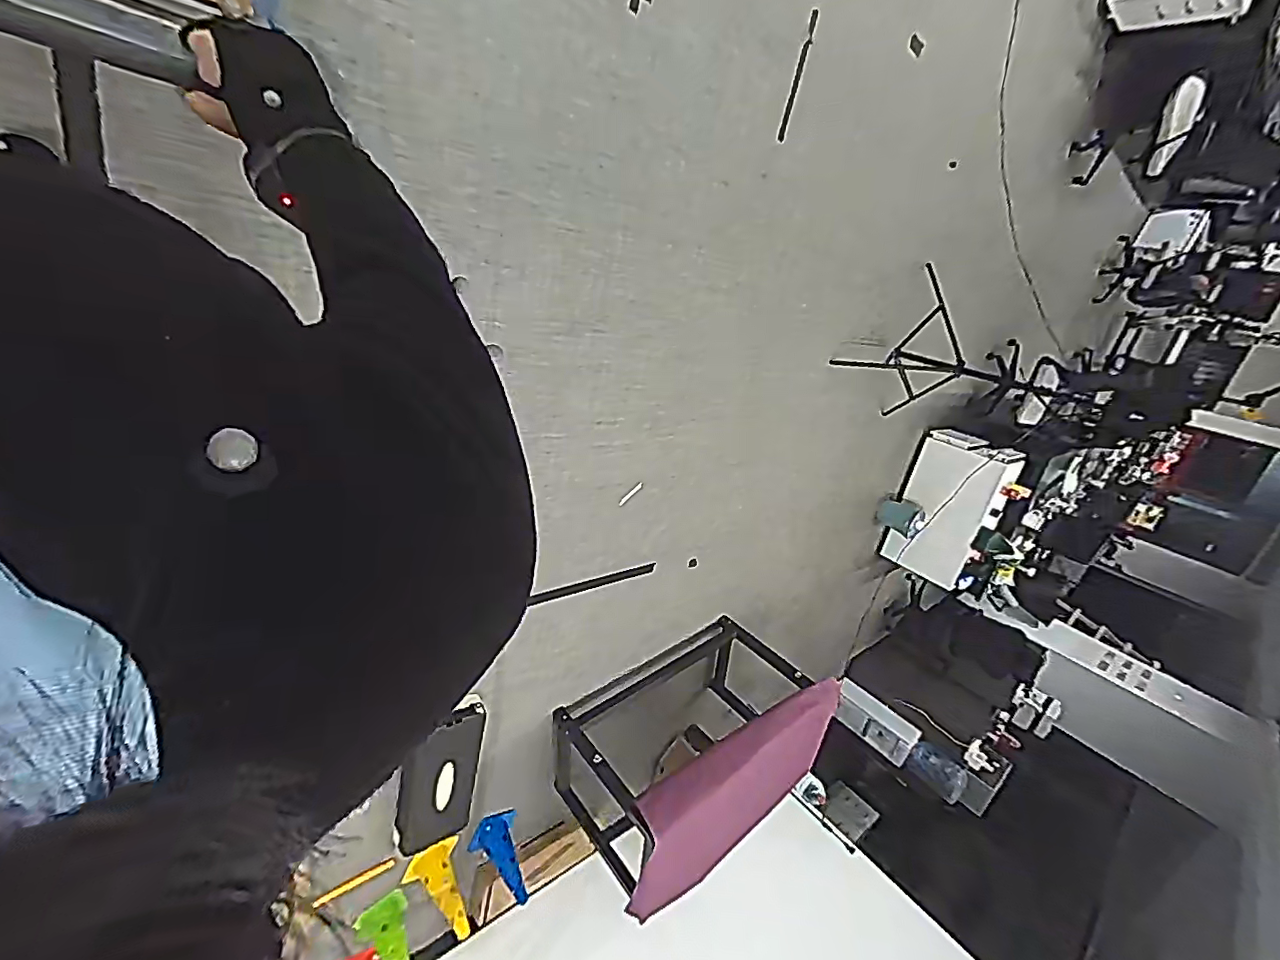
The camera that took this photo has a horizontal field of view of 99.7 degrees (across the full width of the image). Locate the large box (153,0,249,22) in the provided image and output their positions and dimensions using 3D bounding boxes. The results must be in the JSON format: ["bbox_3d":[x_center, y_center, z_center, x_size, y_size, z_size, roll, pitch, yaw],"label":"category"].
[{"bbox_3d":[-0.721,-0.802,0.614,0.408,0.320,0.320,-7,124,-42],"label":"large box"}]
